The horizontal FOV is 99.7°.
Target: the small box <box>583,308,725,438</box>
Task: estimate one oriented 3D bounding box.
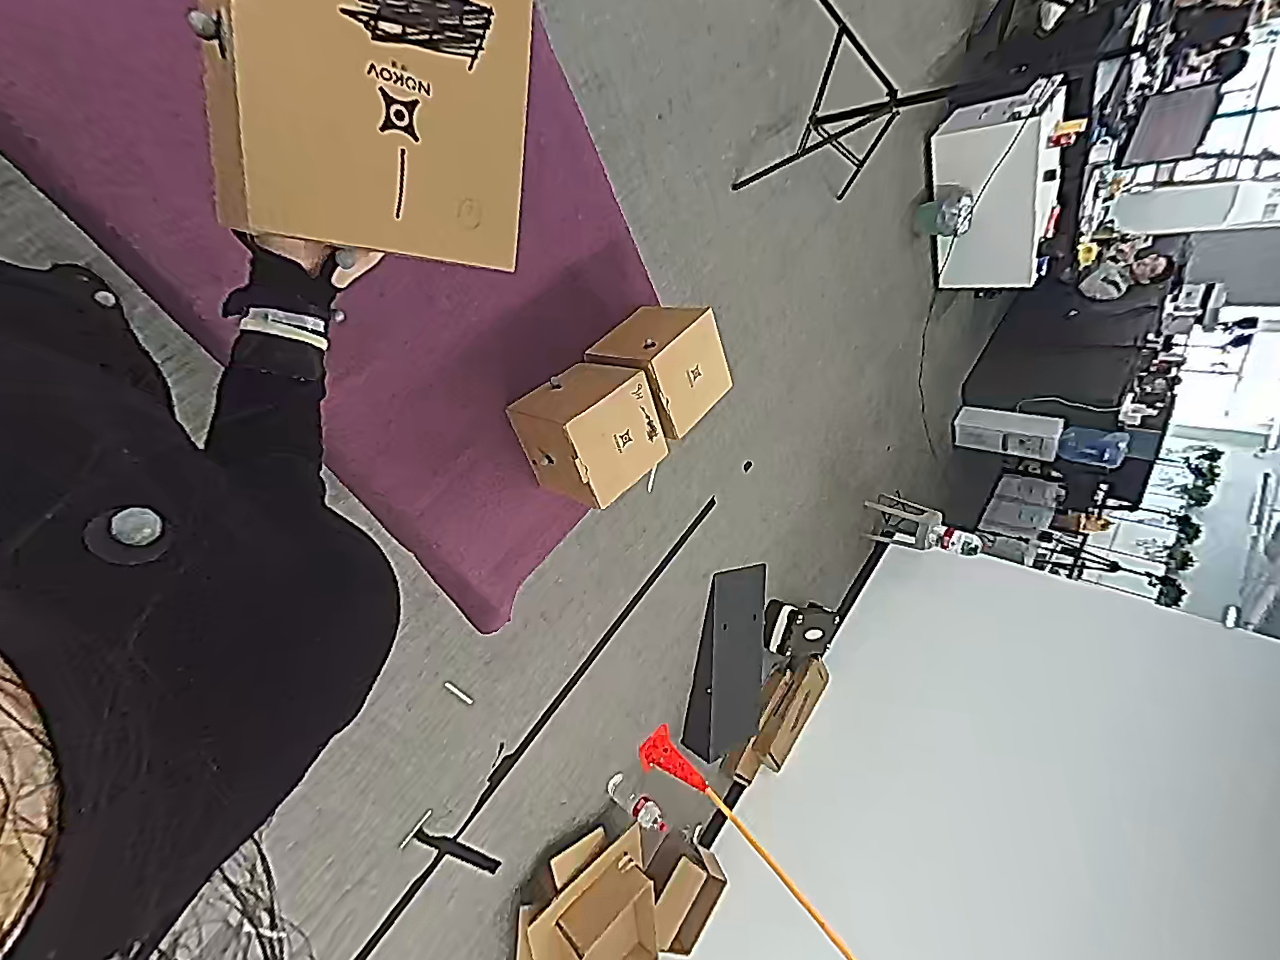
[{"bbox_3d":[0.028,-0.207,1.000,0.179,0.176,0.168,-46,132,-26],"label":"small box"}]

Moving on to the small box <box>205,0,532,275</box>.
[{"bbox_3d":[-0.197,-0.257,0.390,0.168,0.176,0.179,-8,116,-40],"label":"small box"}]
